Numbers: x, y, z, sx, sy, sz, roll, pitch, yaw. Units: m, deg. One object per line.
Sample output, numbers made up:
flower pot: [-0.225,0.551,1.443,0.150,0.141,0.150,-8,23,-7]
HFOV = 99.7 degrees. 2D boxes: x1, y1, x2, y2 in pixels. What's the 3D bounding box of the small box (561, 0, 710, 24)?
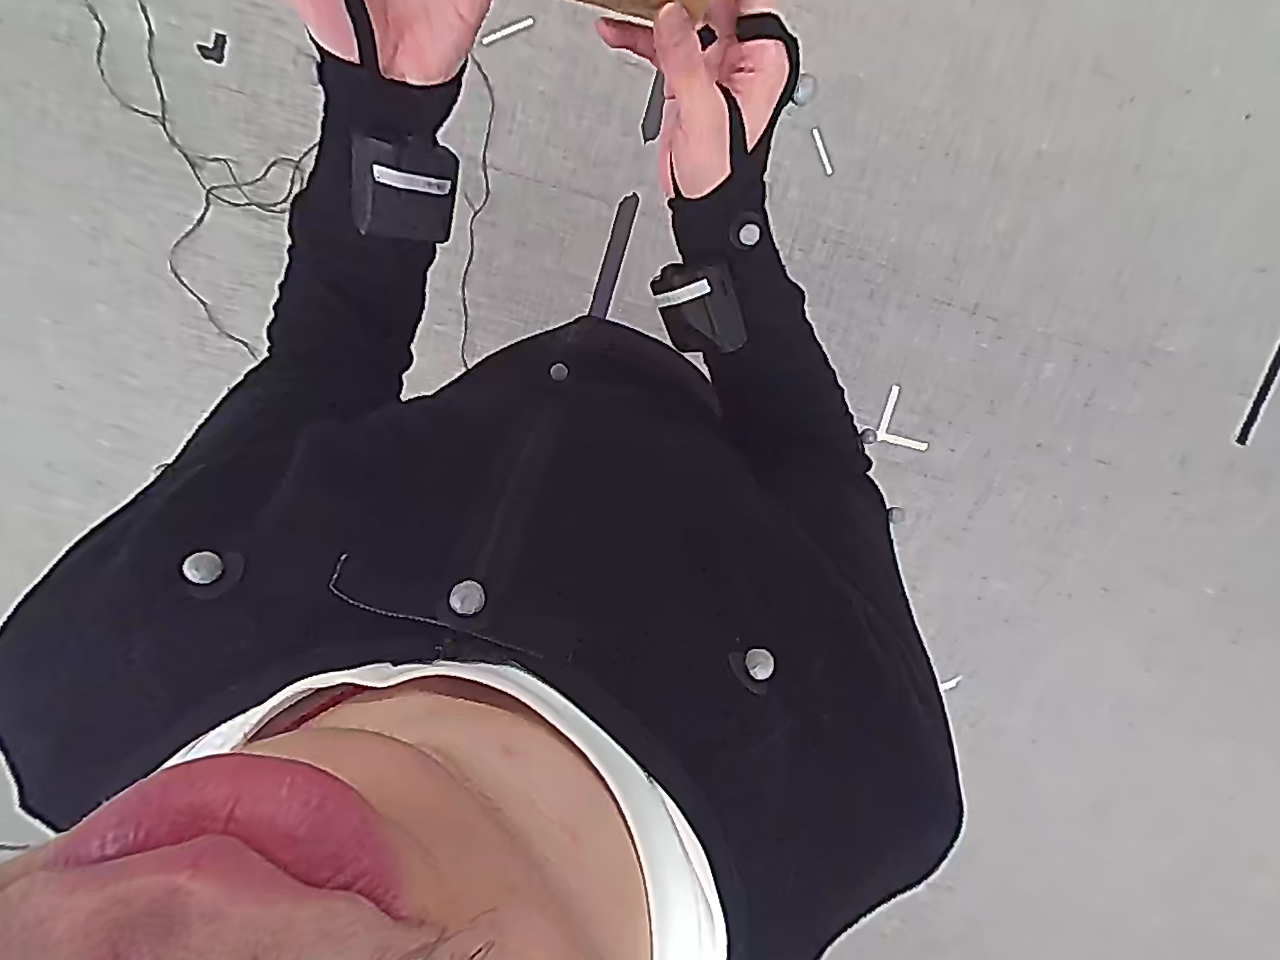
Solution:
small box: [-0.033,-0.280,0.168,0.179,0.176,0.168,7,117,-8]
